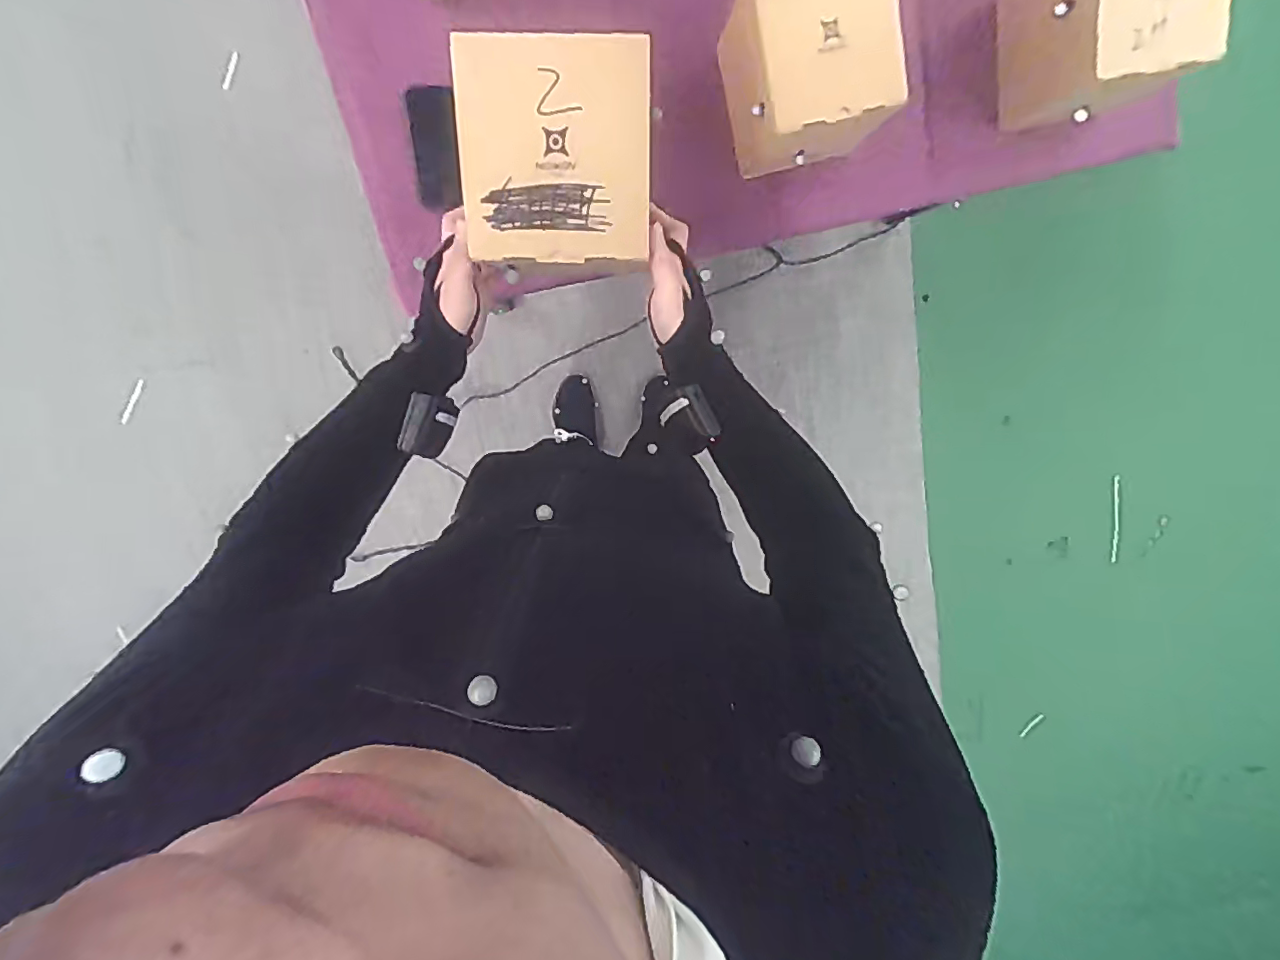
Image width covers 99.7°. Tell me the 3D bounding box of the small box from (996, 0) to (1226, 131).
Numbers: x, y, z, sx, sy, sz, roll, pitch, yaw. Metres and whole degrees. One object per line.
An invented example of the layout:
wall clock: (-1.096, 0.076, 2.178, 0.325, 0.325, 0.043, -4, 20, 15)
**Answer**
small box: (0.598, -0.596, 0.707, 0.168, 0.176, 0.179, -11, 104, -1)

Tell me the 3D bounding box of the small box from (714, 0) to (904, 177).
small box: (0.204, -0.523, 0.693, 0.168, 0.176, 0.179, -16, 104, -2)
